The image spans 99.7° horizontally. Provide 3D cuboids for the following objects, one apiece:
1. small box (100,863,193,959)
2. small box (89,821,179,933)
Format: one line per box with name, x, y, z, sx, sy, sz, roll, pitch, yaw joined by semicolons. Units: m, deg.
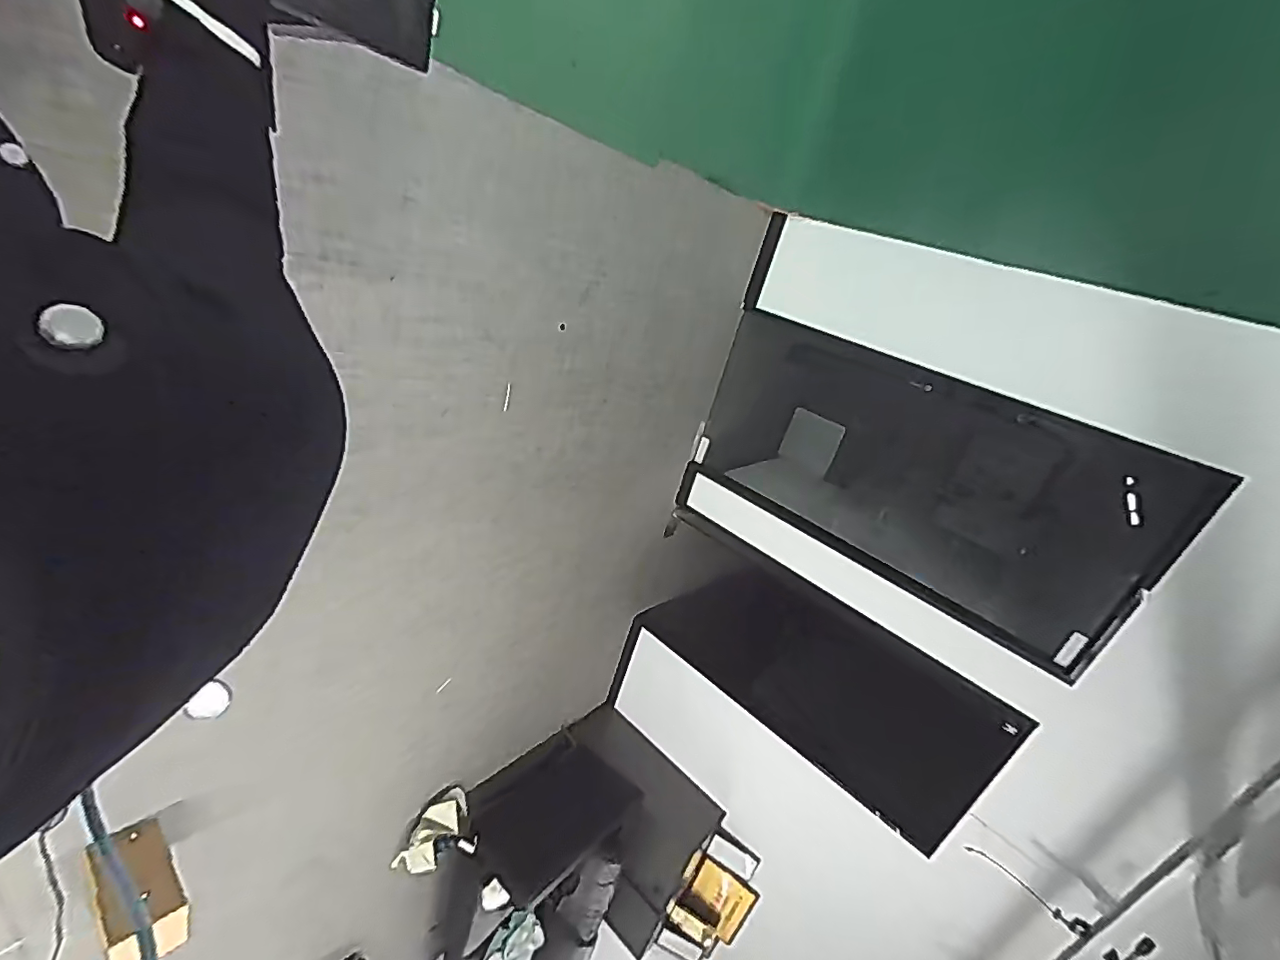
small box;-1.411;1.242;1.543;0.168;0.176;0.179;-9;125;-53
small box;-1.519;1.179;1.621;0.168;0.176;0.179;-6;122;-54
